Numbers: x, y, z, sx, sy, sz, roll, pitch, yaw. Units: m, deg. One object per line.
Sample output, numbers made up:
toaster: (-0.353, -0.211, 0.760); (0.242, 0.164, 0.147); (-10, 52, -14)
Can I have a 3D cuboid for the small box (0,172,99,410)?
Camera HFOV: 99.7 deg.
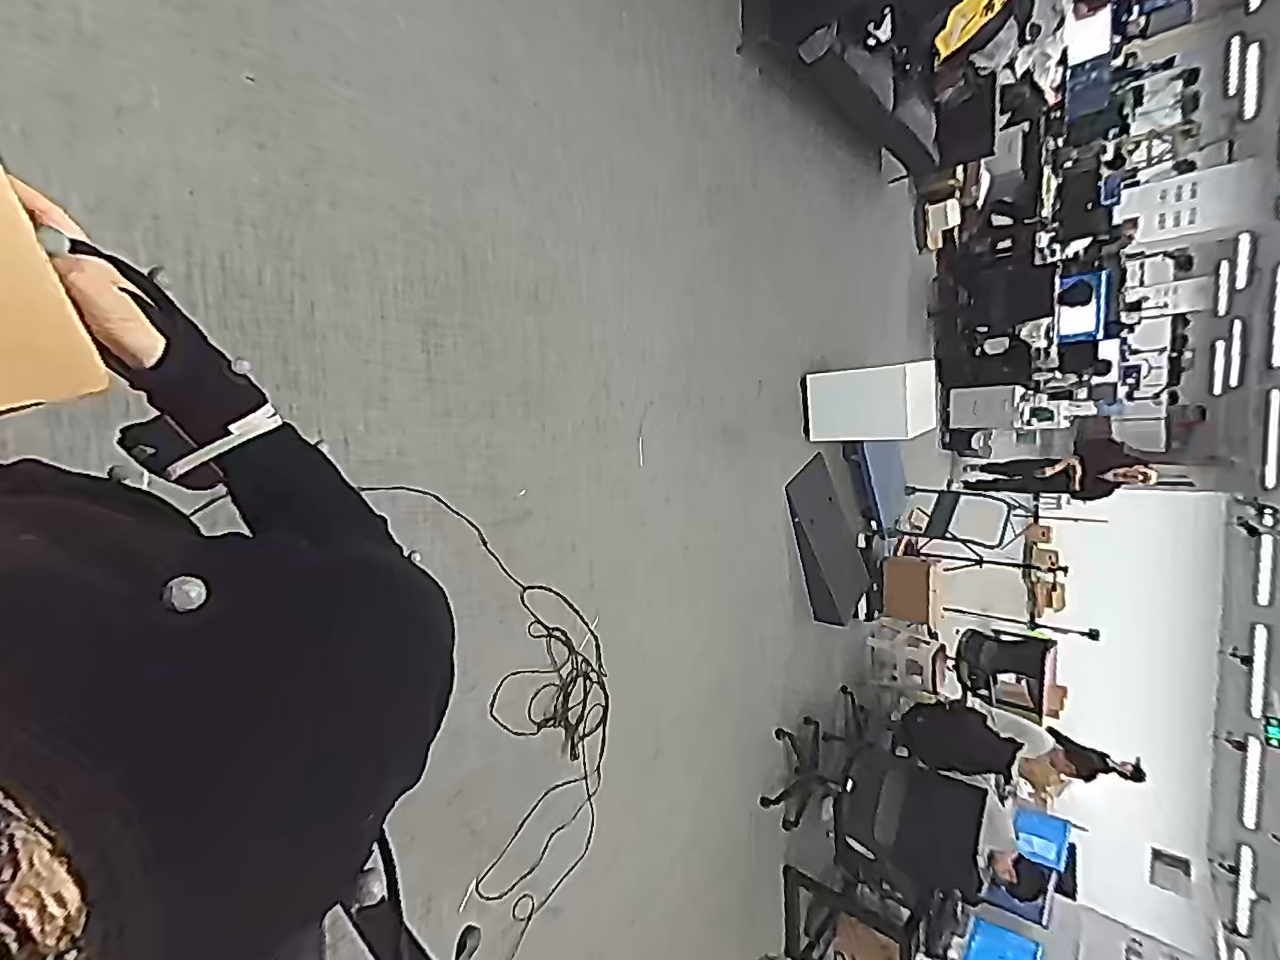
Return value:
small box: (-0.423, -0.117, 0.251); (0.168, 0.176, 0.179); (-36, 134, -48)
